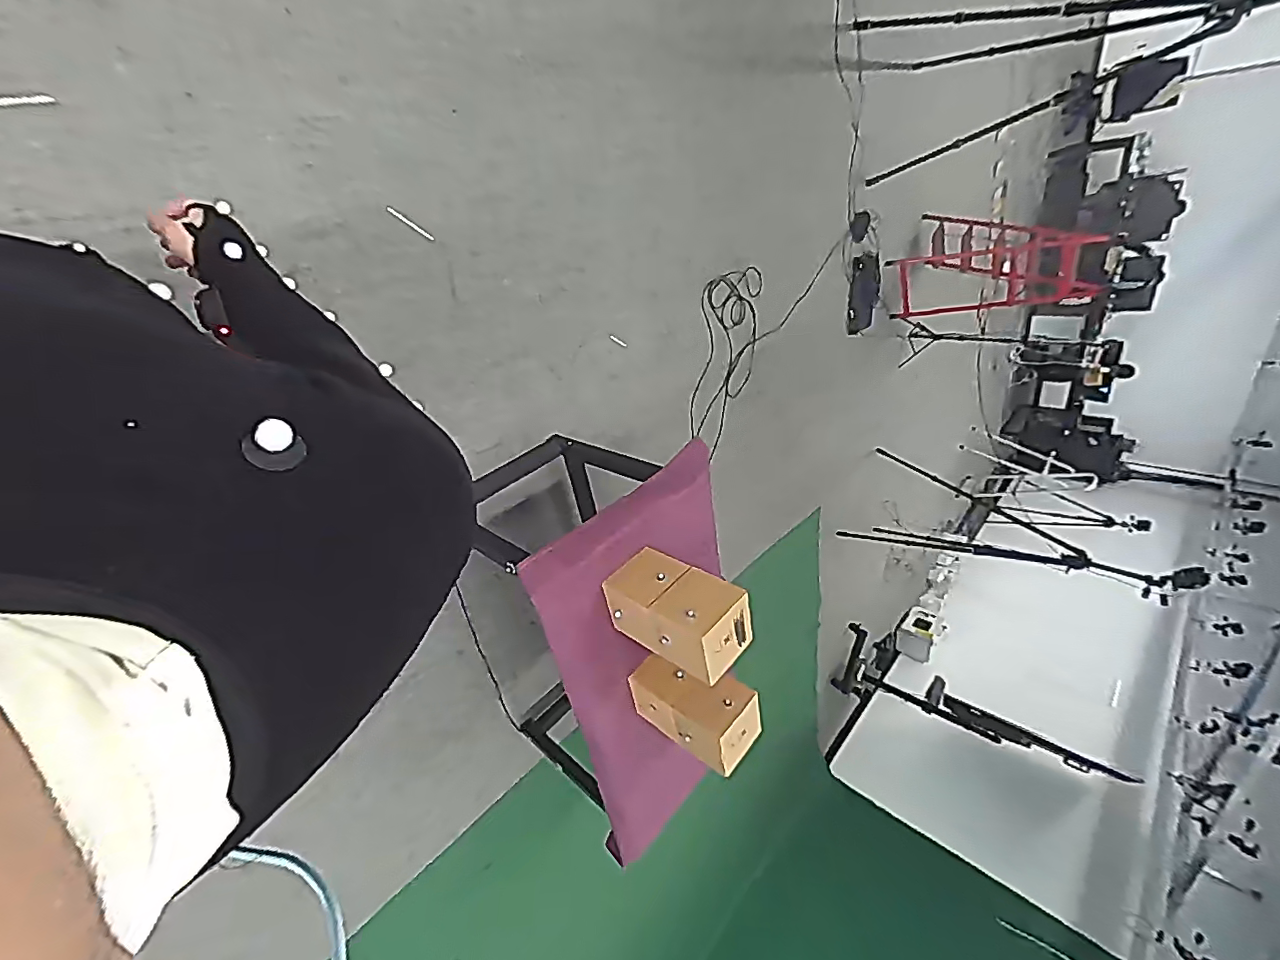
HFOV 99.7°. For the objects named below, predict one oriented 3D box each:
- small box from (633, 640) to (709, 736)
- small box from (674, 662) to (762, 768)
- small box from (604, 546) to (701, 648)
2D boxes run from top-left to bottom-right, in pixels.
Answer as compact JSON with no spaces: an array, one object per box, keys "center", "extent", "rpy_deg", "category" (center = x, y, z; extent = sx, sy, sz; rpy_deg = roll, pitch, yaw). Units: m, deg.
[{"center":[0.096,0.607,1.605],"extent":[0.179,0.176,0.168],"rpy_deg":[-36,127,-35],"category":"small box"},{"center":[0.218,0.642,1.500],"extent":[0.179,0.176,0.168],"rpy_deg":[-35,126,-36],"category":"small box"},{"center":[0.034,0.299,1.427],"extent":[0.179,0.176,0.168],"rpy_deg":[-36,127,-34],"category":"small box"}]
